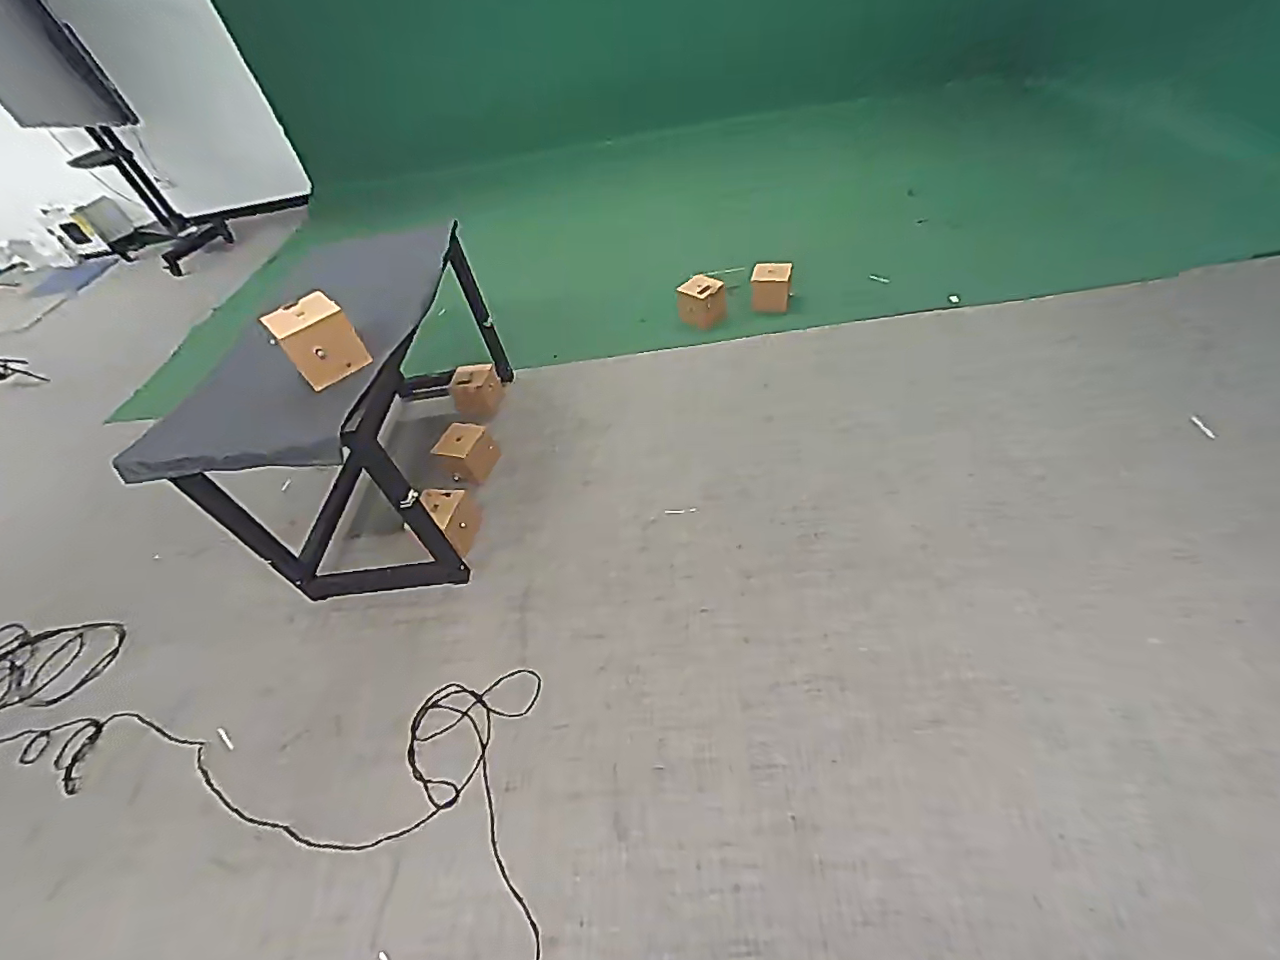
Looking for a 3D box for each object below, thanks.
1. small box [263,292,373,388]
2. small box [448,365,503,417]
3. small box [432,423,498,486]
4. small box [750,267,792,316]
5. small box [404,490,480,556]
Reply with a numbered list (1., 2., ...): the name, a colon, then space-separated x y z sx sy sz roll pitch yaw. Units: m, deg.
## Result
1. small box: -0.856 -0.372 1.450 0.168 0.176 0.179 -39 52 -23
2. small box: -0.735 -0.396 2.442 0.168 0.176 0.179 -2 47 9
3. small box: -0.691 -0.101 2.165 0.168 0.176 0.179 8 52 20
4. small box: 0.638 -0.921 2.642 0.179 0.176 0.168 9 51 18
5. small box: -0.699 0.156 1.932 0.168 0.176 0.179 3 50 13
